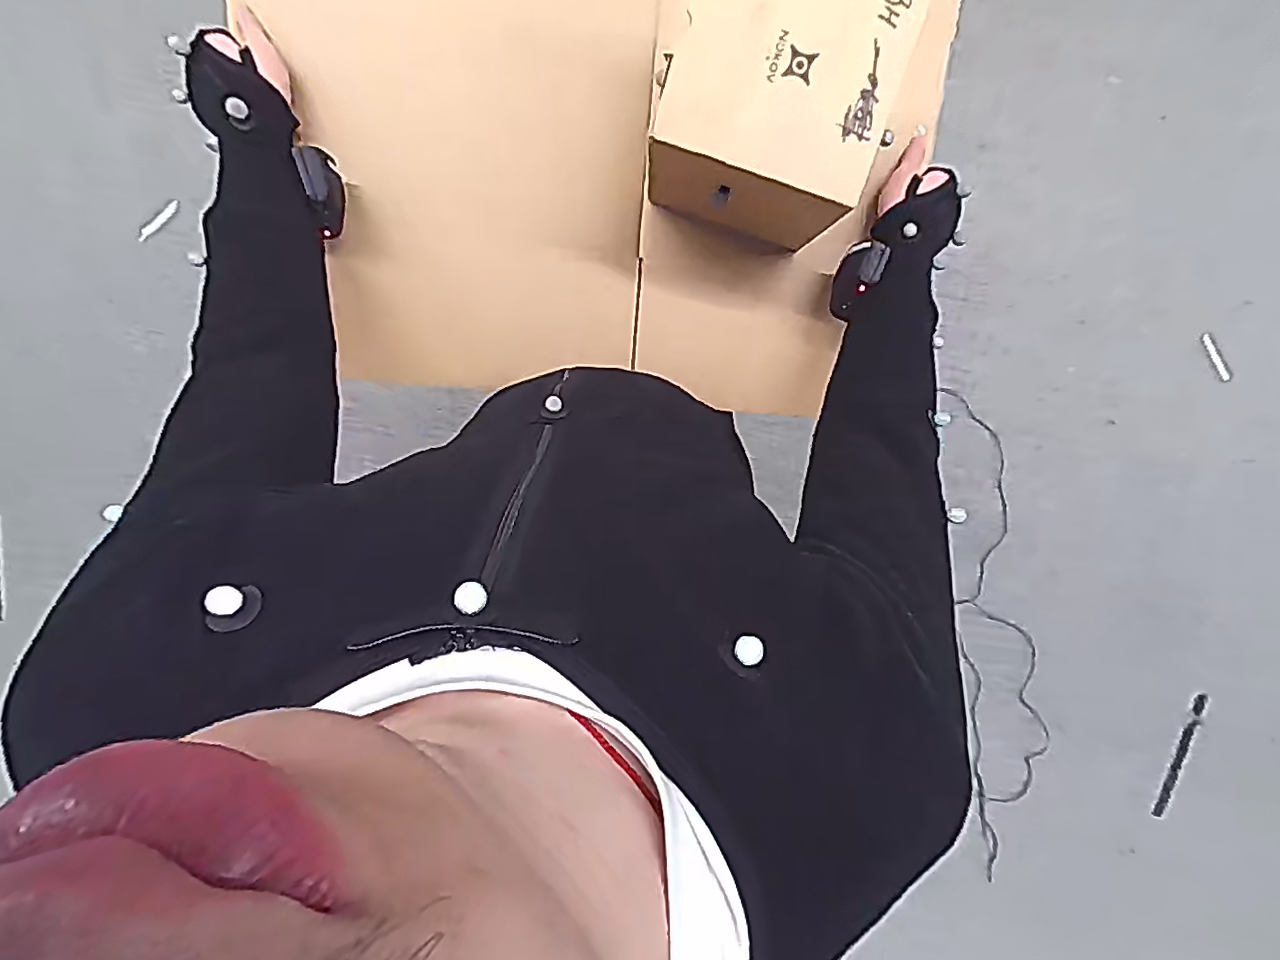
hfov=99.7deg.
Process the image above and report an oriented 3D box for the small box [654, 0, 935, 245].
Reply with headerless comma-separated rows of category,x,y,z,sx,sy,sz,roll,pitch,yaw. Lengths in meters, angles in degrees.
small box,0.119,-0.336,0.495,0.179,0.176,0.168,18,102,-2
